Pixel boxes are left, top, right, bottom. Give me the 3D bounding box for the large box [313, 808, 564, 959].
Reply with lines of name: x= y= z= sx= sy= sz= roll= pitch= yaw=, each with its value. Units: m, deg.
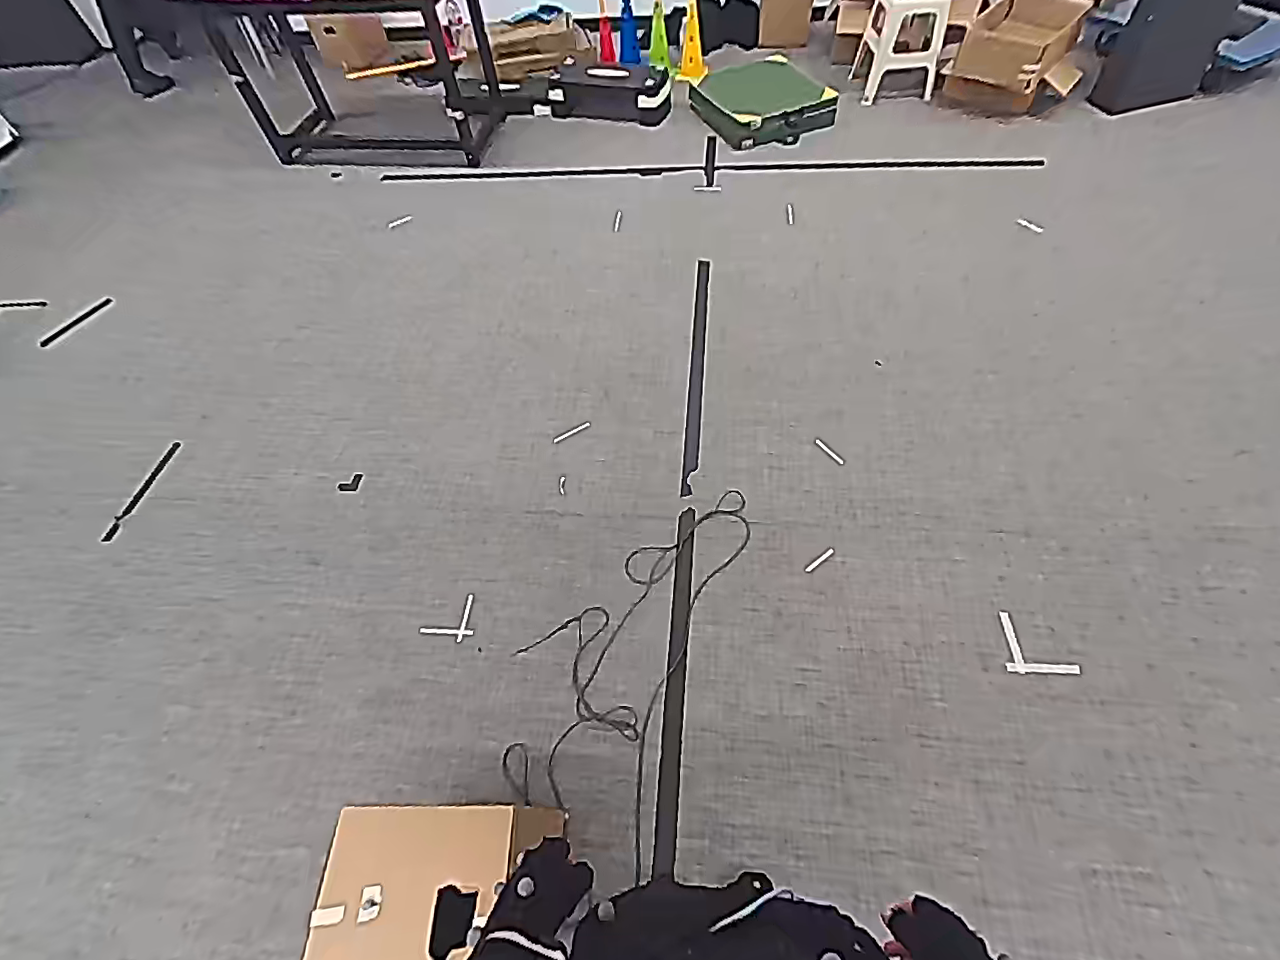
large box: x=-0.345 y=0.805 z=1.020 sx=0.320 sy=0.408 sz=0.320 roll=-2 pitch=58 yaw=5
